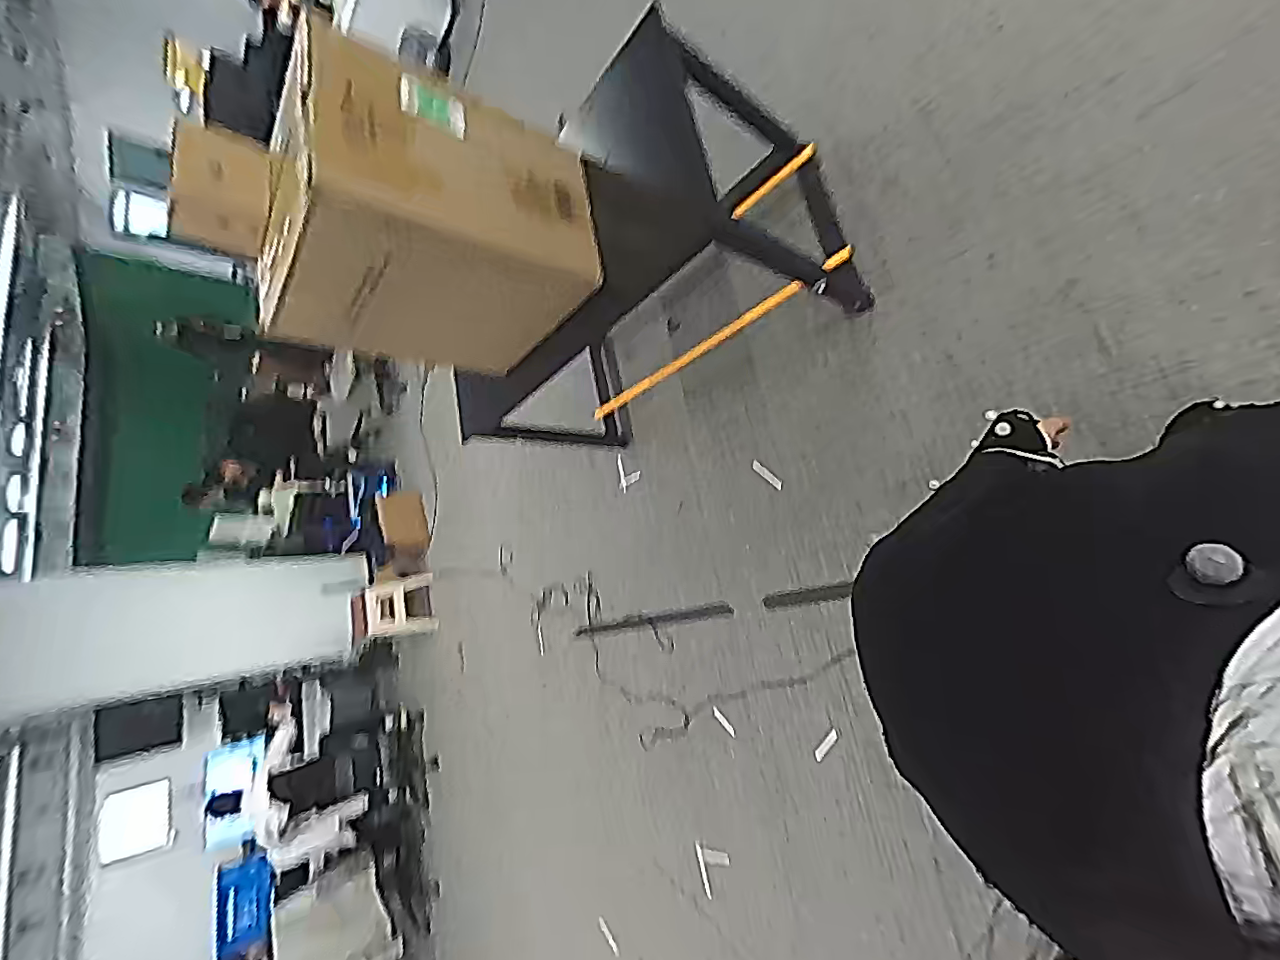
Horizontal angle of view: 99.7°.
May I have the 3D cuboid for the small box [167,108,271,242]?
[{"bbox_3d":[-0.921,-0.651,1.185,0.168,0.176,0.179,-25,70,44],"label":"small box"}]
